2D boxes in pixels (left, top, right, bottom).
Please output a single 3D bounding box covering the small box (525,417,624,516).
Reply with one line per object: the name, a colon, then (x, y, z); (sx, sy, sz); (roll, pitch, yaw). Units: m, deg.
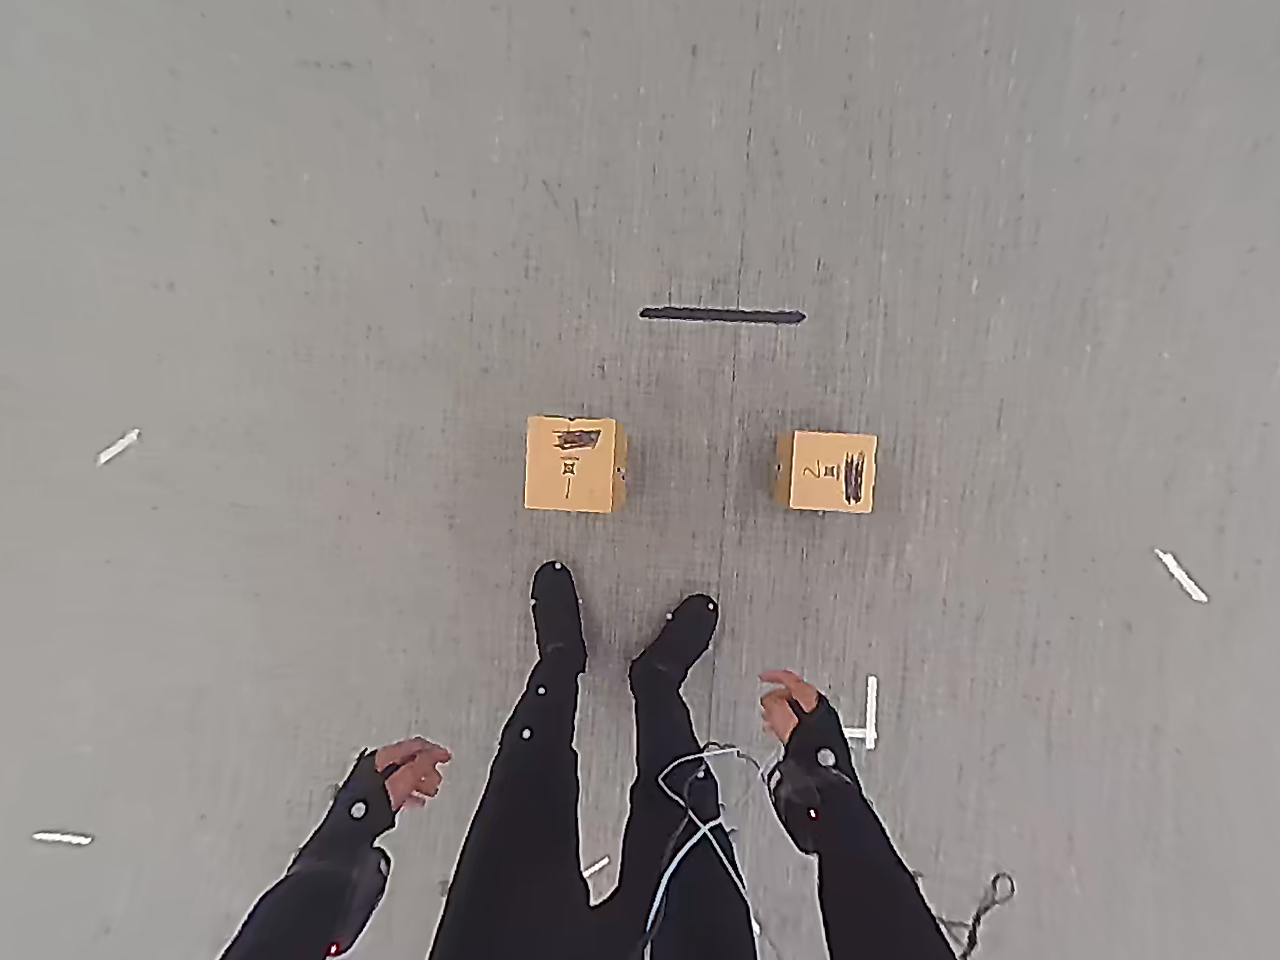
small box: (-0.123, -0.027, 1.073); (0.168, 0.176, 0.179); (4, 92, 3)
